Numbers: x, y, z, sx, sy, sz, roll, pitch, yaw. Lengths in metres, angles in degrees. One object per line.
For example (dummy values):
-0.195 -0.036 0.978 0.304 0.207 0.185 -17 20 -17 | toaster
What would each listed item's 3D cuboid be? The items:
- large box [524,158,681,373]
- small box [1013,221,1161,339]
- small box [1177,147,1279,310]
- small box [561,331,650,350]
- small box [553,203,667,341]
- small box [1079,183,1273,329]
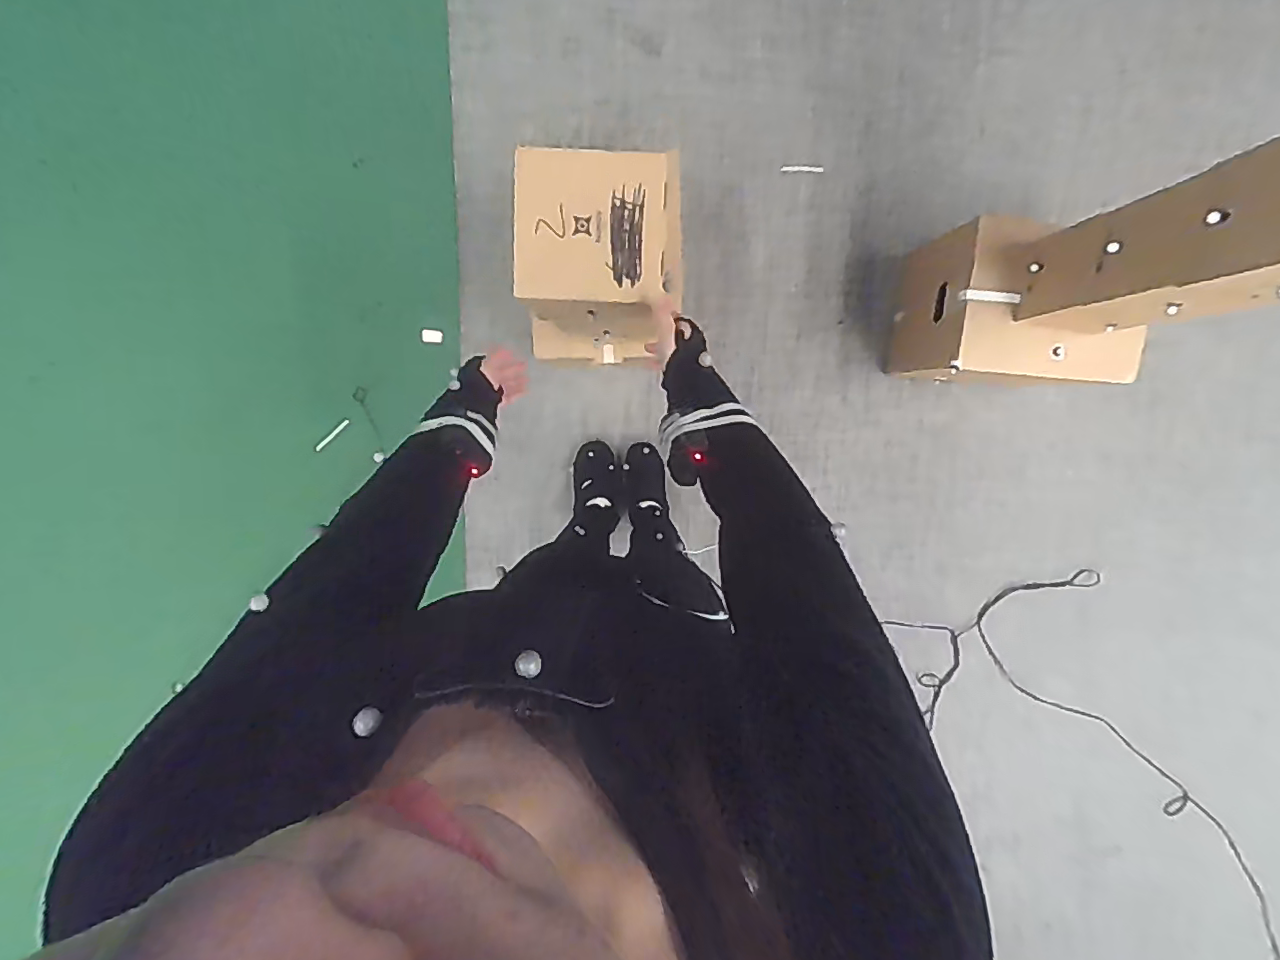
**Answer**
-0.077 -0.465 1.257 0.320 0.320 0.408 -1 97 -2 | large box
0.881 -0.377 1.052 0.179 0.176 0.168 9 96 -3 | small box
0.892 -0.338 0.725 0.168 0.176 0.179 9 96 -3 | small box
-0.058 -0.345 1.029 0.168 0.176 0.179 1 97 -1 | small box
-0.046 -0.320 0.866 0.168 0.176 0.179 1 97 -2 | small box
0.889 -0.354 0.889 0.179 0.176 0.168 10 95 -2 | small box
